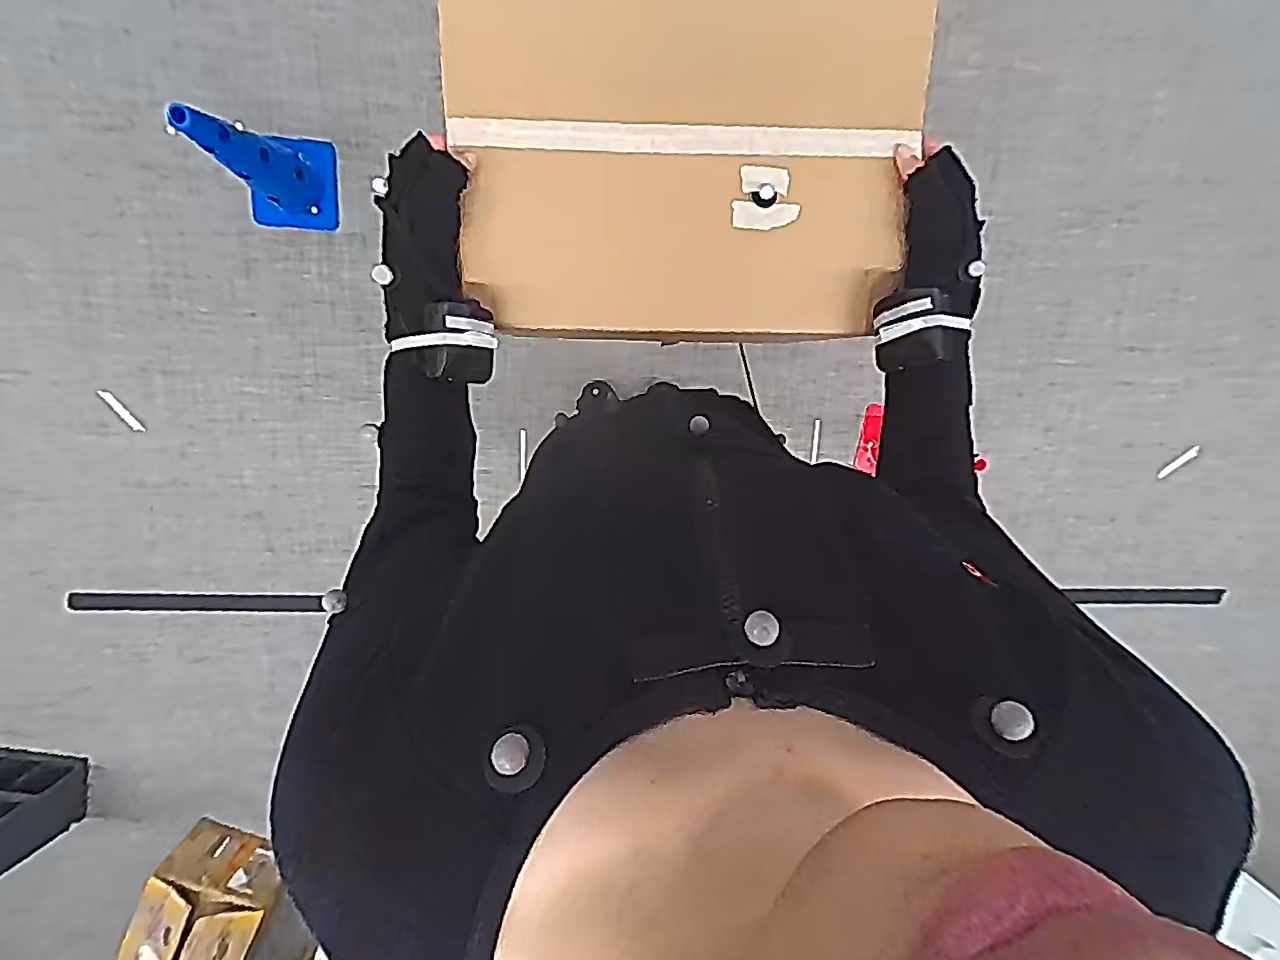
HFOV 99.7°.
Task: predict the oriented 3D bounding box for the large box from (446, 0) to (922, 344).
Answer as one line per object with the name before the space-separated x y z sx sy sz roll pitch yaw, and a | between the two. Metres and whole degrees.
large box | 0.031 -0.321 0.614 0.408 0.320 0.320 0 103 -4

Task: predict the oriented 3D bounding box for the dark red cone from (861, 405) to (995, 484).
dark red cone | 0.718 -0.061 1.312 0.201 0.394 0.202 7 101 -4

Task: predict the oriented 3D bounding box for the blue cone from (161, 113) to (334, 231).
blue cone | -0.829 -0.669 1.140 0.192 0.380 0.193 5 101 -3
